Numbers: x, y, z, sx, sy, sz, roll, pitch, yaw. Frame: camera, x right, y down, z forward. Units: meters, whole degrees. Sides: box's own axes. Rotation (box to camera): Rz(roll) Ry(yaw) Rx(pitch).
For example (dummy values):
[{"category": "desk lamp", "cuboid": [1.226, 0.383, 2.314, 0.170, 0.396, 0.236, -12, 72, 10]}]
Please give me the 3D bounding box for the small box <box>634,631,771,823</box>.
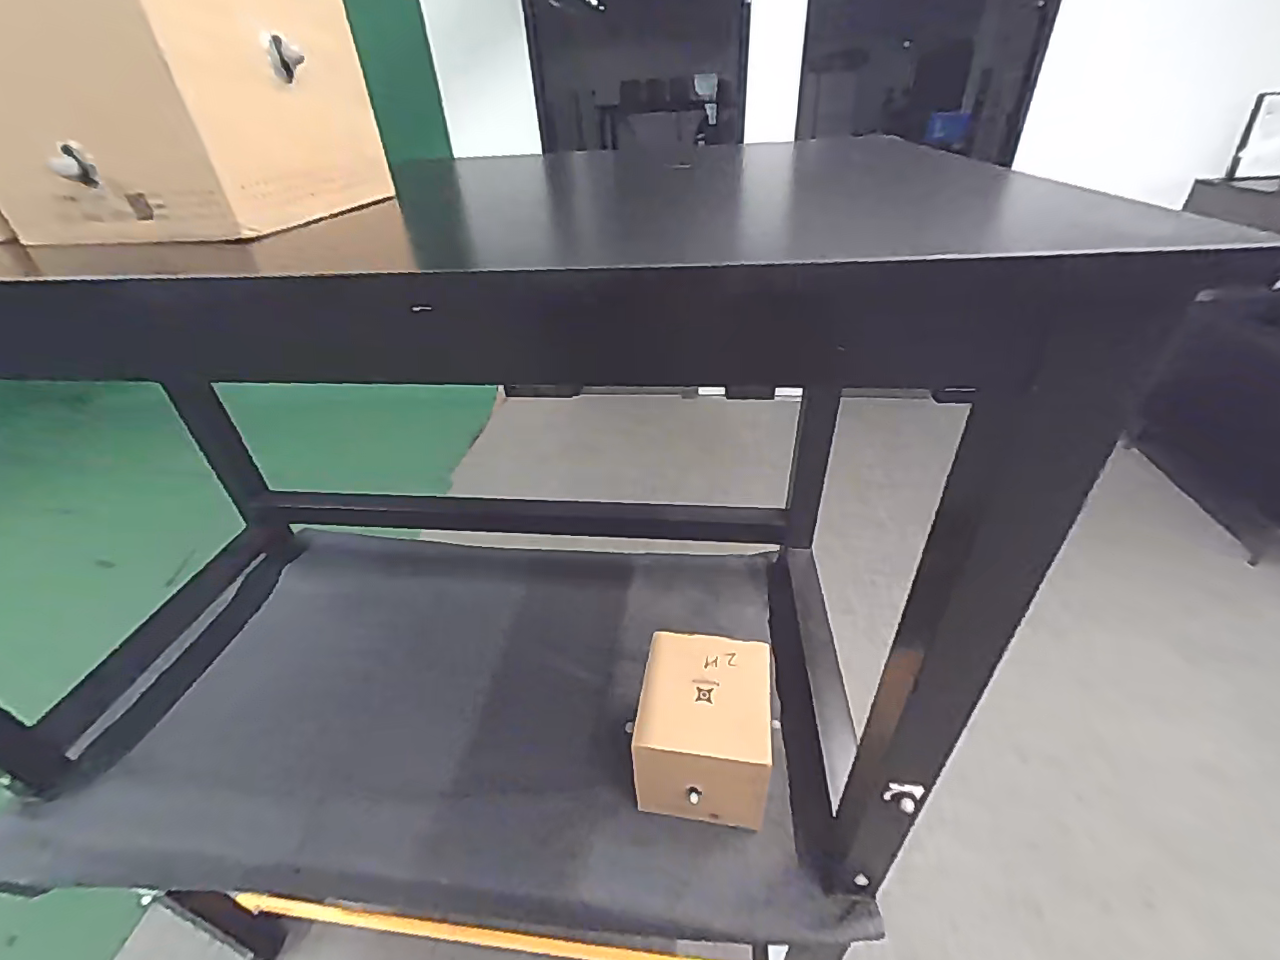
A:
[{"category": "small box", "cuboid": [0.092, 0.338, 0.746, 0.168, 0.176, 0.179, 4, 35, 10]}]
